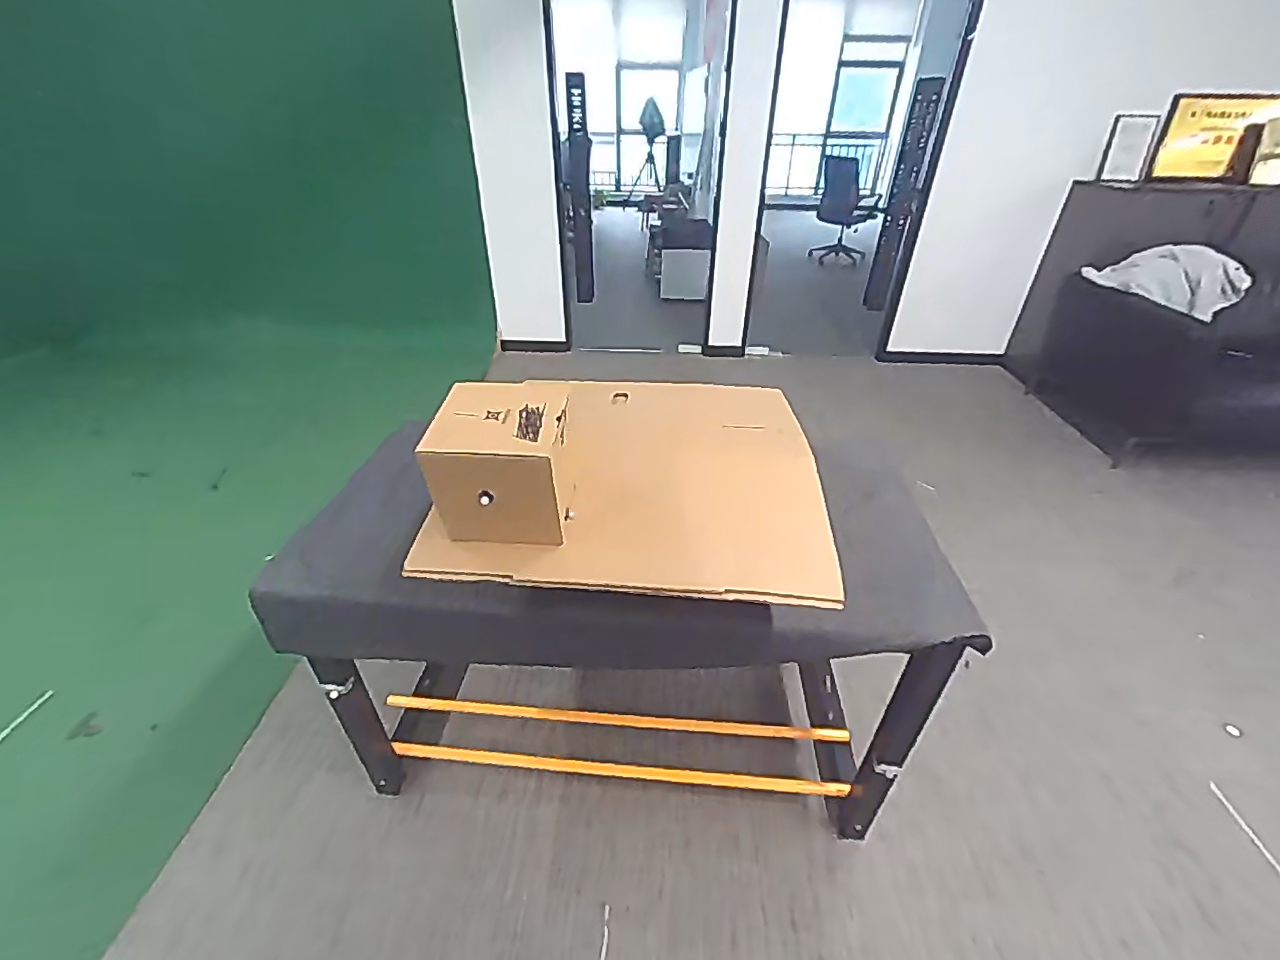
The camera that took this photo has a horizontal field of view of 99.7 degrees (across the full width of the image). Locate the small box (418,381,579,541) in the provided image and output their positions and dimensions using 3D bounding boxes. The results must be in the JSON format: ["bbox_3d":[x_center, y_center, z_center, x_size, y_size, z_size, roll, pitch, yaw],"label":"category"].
[{"bbox_3d":[-0.189,-0.026,0.791,0.179,0.176,0.168,2,42,4],"label":"small box"}]
